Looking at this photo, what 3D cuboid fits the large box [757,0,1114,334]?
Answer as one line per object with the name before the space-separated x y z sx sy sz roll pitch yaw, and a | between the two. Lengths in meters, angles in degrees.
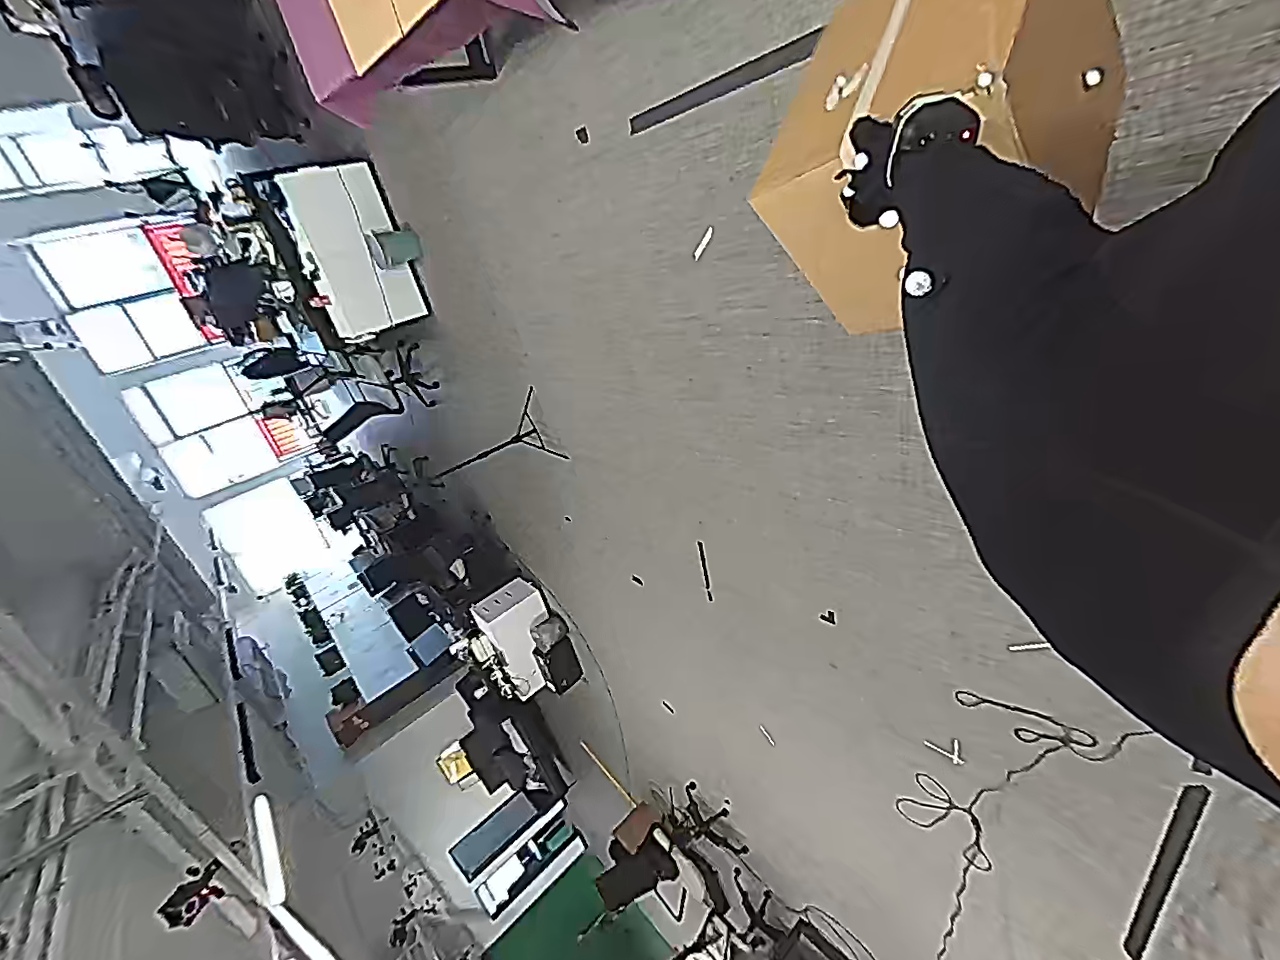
large box | 0.437 -0.486 0.784 0.320 0.408 0.320 34 163 -33
